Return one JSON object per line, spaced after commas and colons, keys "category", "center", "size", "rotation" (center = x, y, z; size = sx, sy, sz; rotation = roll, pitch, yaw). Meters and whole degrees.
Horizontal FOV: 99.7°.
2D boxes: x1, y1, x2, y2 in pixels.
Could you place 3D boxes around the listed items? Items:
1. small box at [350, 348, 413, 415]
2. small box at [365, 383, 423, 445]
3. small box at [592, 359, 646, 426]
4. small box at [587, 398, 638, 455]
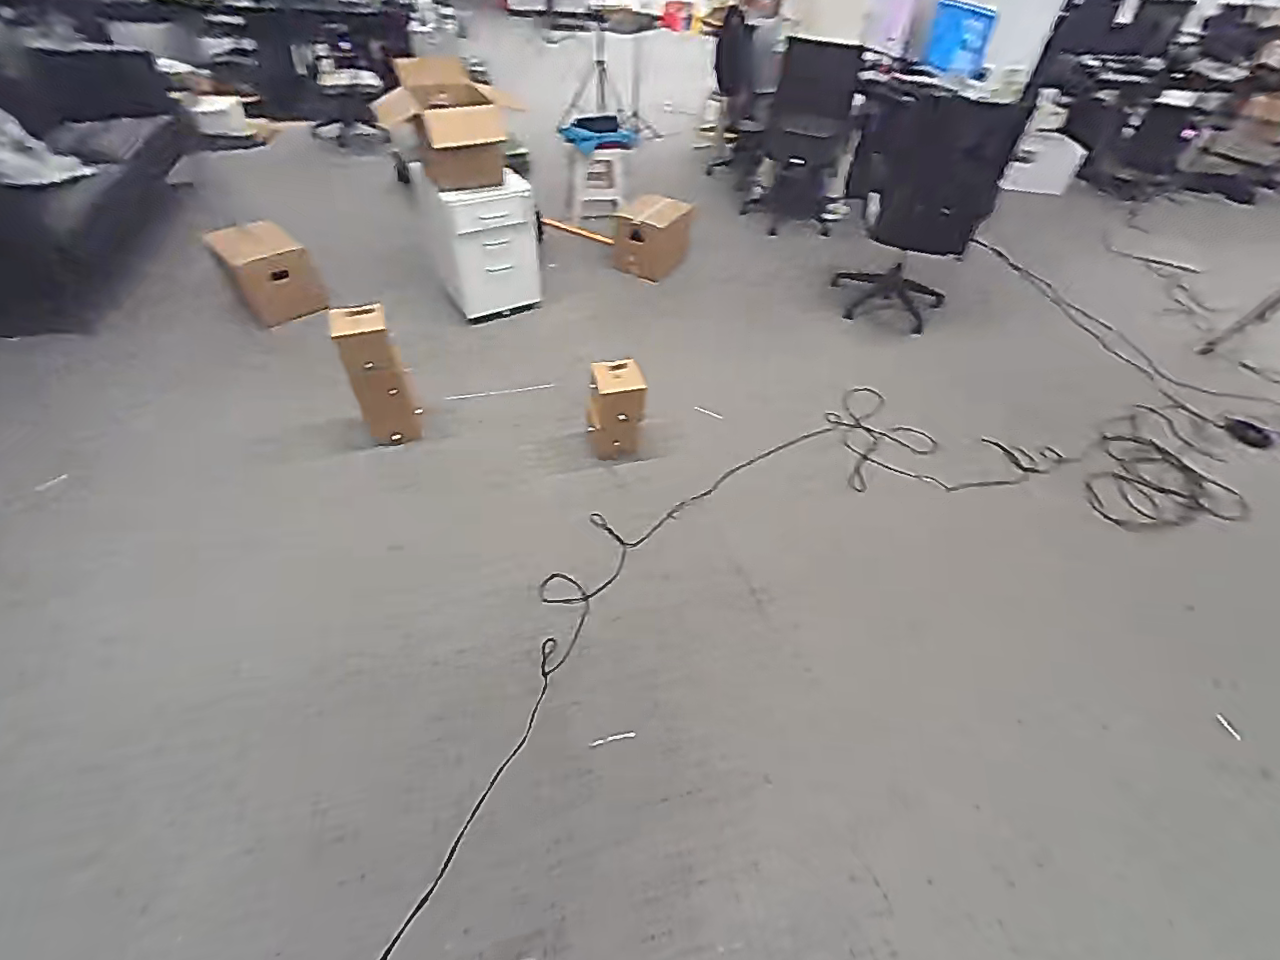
{"category": "small box", "center": [-0.948, -0.363, 1.996], "size": [0.179, 0.176, 0.168], "rotation": [-14, 48, -14]}
{"category": "small box", "center": [-0.960, -0.259, 2.122], "size": [0.179, 0.176, 0.168], "rotation": [-11, 48, -14]}
{"category": "small box", "center": [-0.083, -0.324, 2.006], "size": [0.168, 0.176, 0.179], "rotation": [-11, 50, -13]}
{"category": "small box", "center": [-0.108, -0.214, 2.126], "size": [0.168, 0.176, 0.179], "rotation": [-11, 49, -14]}
